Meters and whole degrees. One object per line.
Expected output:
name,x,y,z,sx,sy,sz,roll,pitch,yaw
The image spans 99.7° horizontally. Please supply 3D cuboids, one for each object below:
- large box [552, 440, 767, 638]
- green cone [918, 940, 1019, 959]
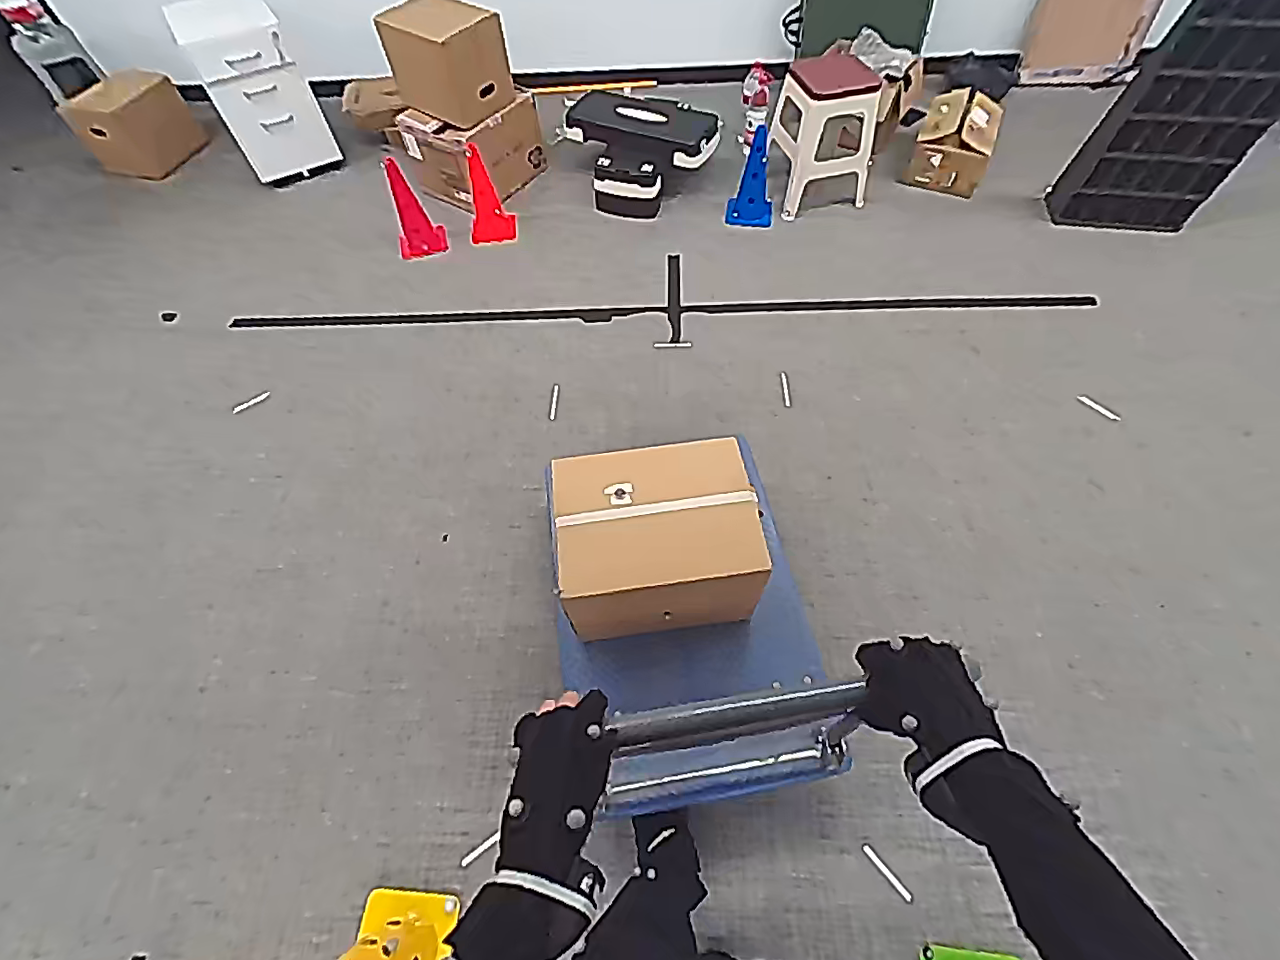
large box,0.035,0.144,1.227,0.408,0.320,0.320,-8,59,-1
green cone,0.642,0.923,0.883,0.202,0.368,0.200,4,58,3
